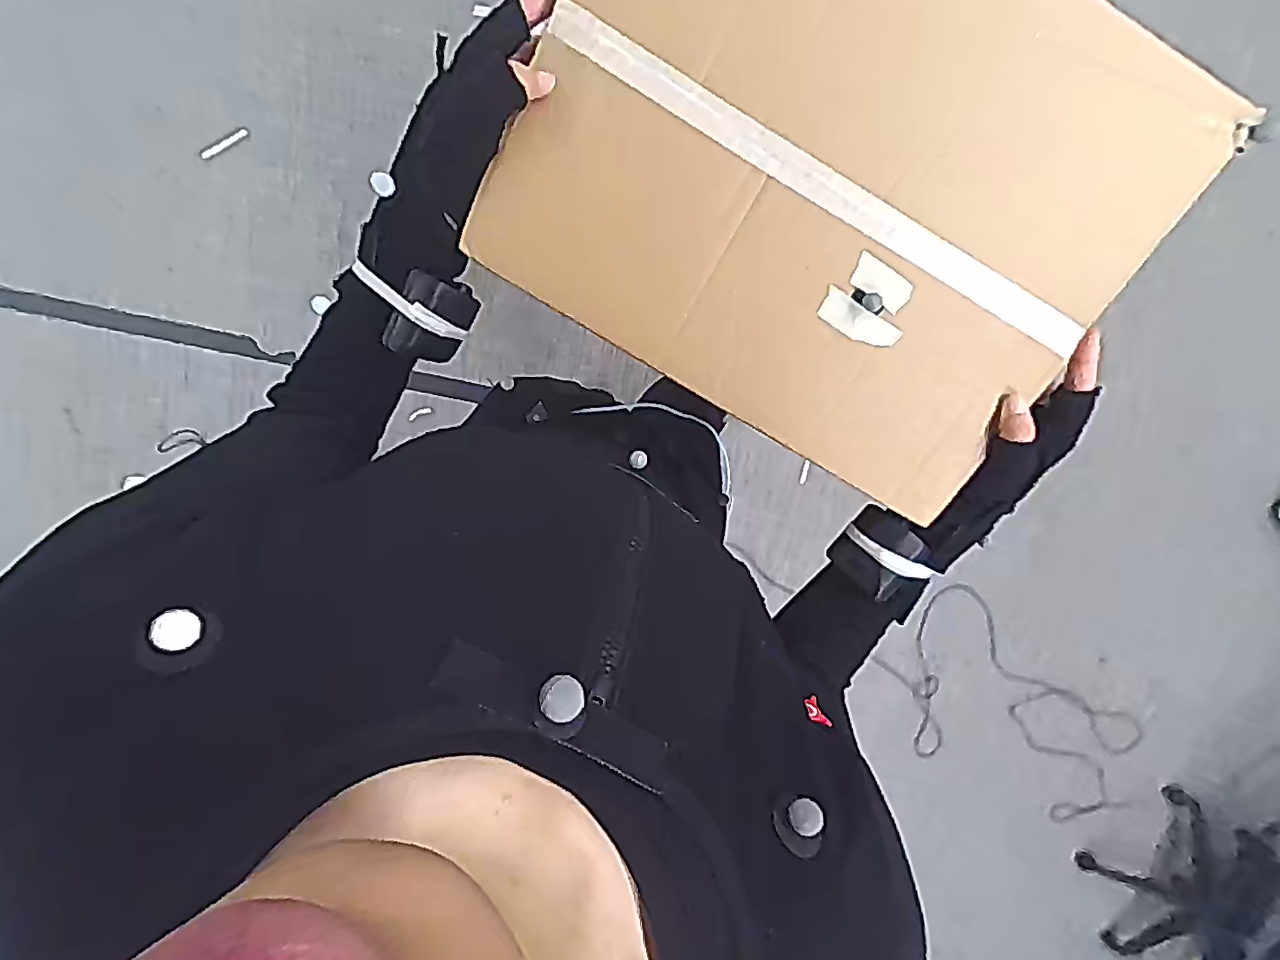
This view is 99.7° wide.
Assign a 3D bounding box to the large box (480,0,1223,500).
[{"bbox_3d":[0.134,-0.244,0.509,0.408,0.320,0.320,30,108,-5],"label":"large box"}]
